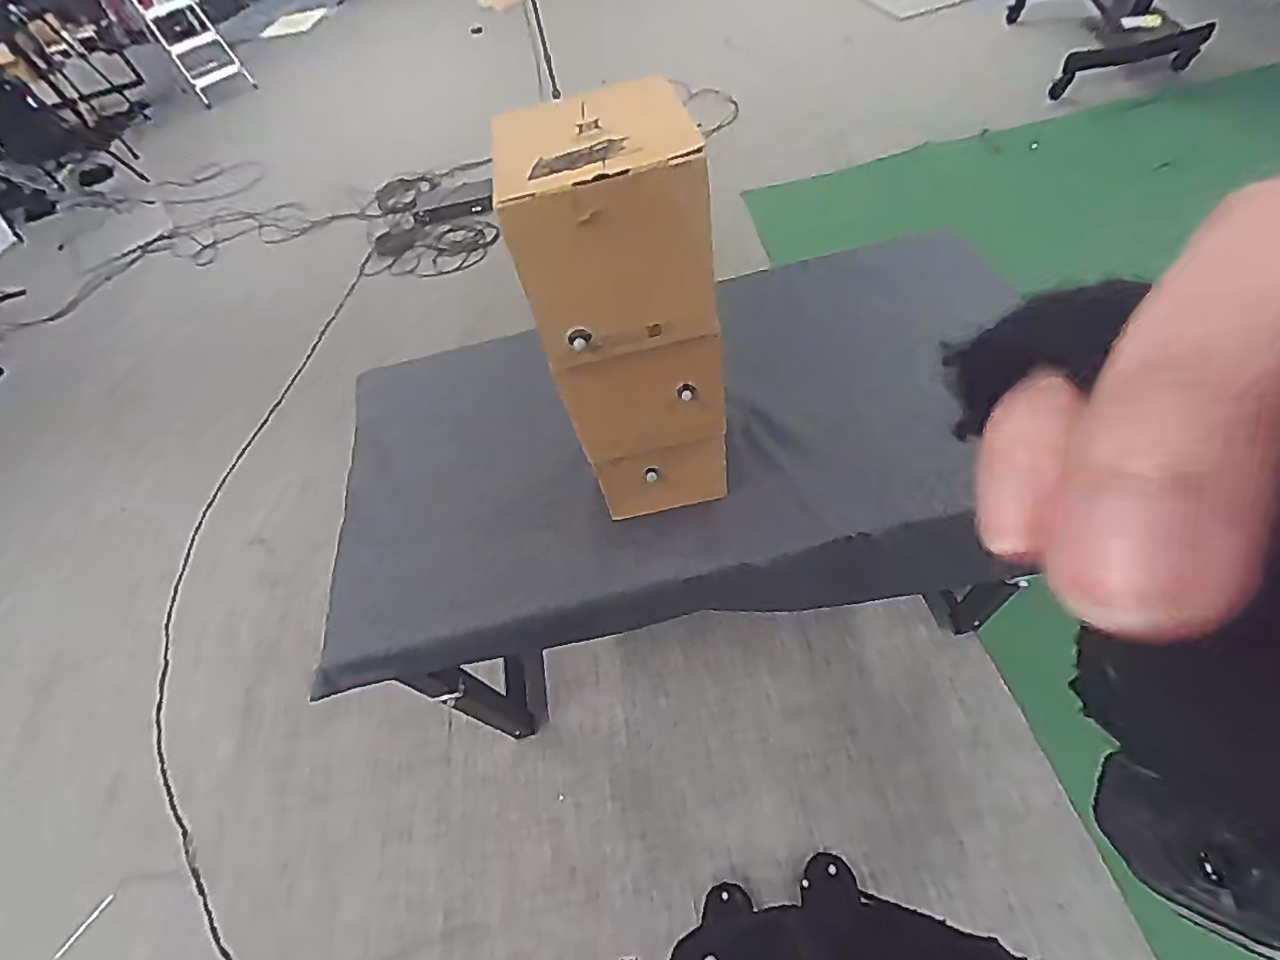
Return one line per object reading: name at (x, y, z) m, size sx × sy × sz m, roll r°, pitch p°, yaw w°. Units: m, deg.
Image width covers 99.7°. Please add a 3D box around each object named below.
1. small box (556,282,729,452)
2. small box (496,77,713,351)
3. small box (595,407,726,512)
small box at (-0.003, -0.158, 0.638) m, size 0.179 × 0.176 × 0.168 m, roll -15°, pitch 54°, yaw -1°
small box at (-0.029, -0.241, 0.519) m, size 0.168 × 0.176 × 0.179 m, roll -12°, pitch 53°, yaw 2°
small box at (0.021, -0.073, 0.797) m, size 0.179 × 0.176 × 0.168 m, roll -14°, pitch 53°, yaw 0°
